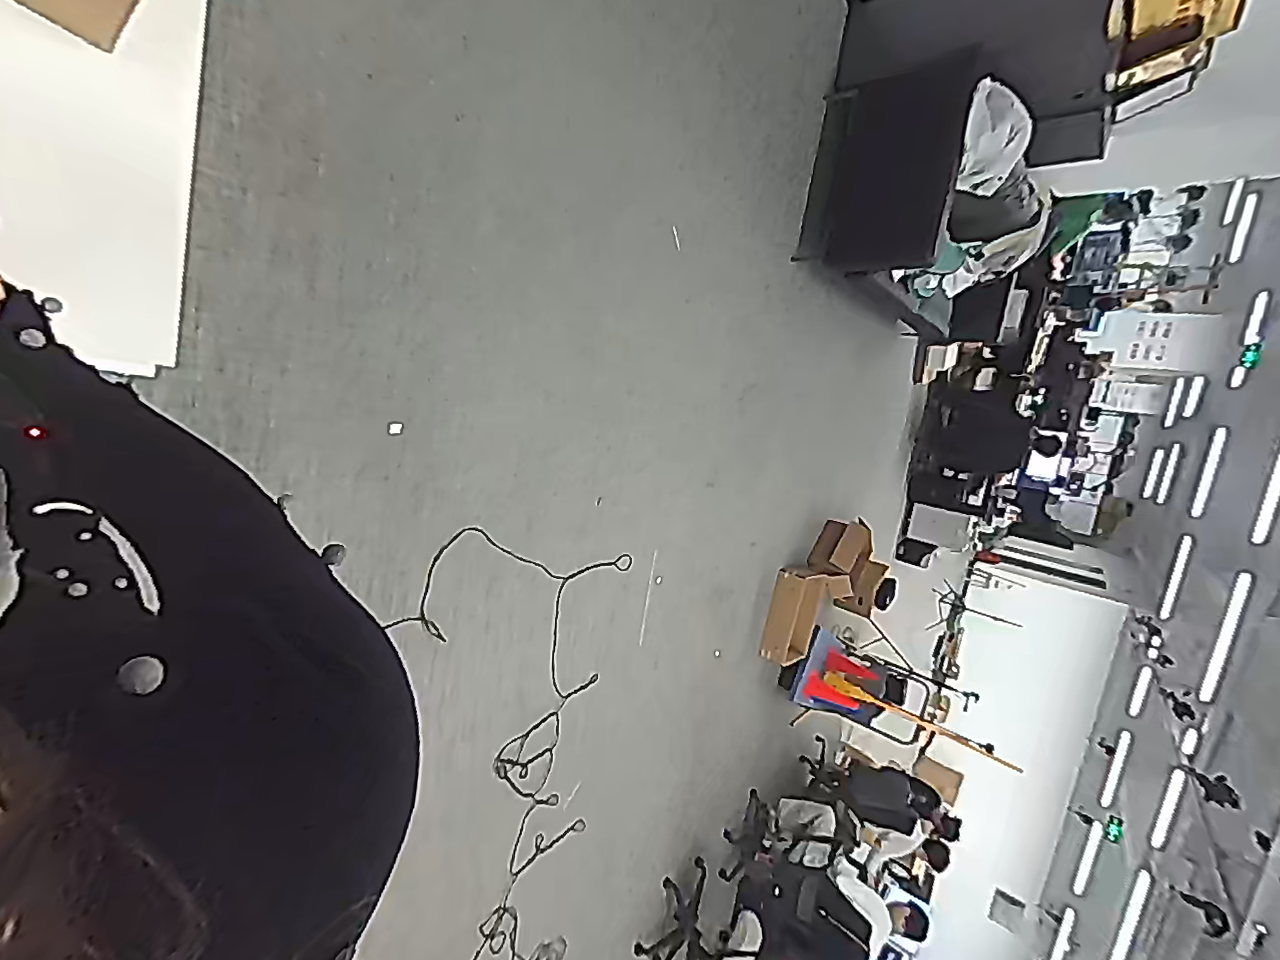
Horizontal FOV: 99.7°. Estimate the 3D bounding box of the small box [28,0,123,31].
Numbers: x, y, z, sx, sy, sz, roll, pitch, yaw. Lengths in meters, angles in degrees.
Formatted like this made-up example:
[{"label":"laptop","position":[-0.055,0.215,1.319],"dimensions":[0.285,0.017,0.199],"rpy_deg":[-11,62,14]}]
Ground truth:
[{"label":"small box","position":[-0.500,-0.504,0.416],"dimensions":[0.179,0.176,0.168],"rpy_deg":[14,92,-52]}]
